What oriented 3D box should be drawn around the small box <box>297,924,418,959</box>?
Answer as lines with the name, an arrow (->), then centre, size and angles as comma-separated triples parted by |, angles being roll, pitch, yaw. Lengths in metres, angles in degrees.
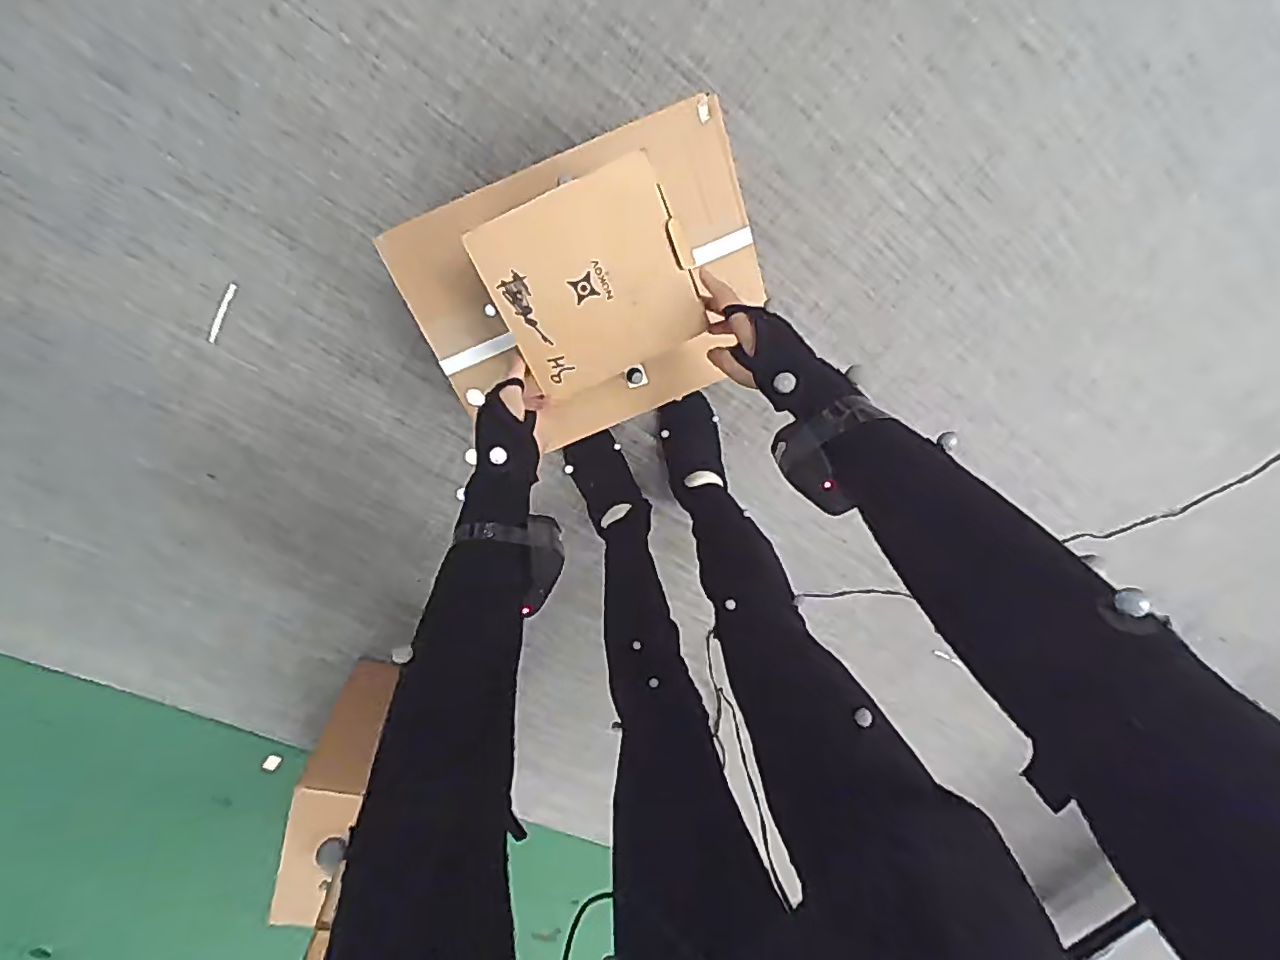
small box -> -0.442, 0.794, 0.779 | 0.168, 0.176, 0.179 | 23, 108, -17

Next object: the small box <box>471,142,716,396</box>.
small box -> -0.047, -0.211, 0.556 | 0.179, 0.176, 0.168 | -25, 113, 2

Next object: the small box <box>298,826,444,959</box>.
small box -> -0.457, 0.733, 0.929 | 0.179, 0.176, 0.168 | 22, 109, -16
